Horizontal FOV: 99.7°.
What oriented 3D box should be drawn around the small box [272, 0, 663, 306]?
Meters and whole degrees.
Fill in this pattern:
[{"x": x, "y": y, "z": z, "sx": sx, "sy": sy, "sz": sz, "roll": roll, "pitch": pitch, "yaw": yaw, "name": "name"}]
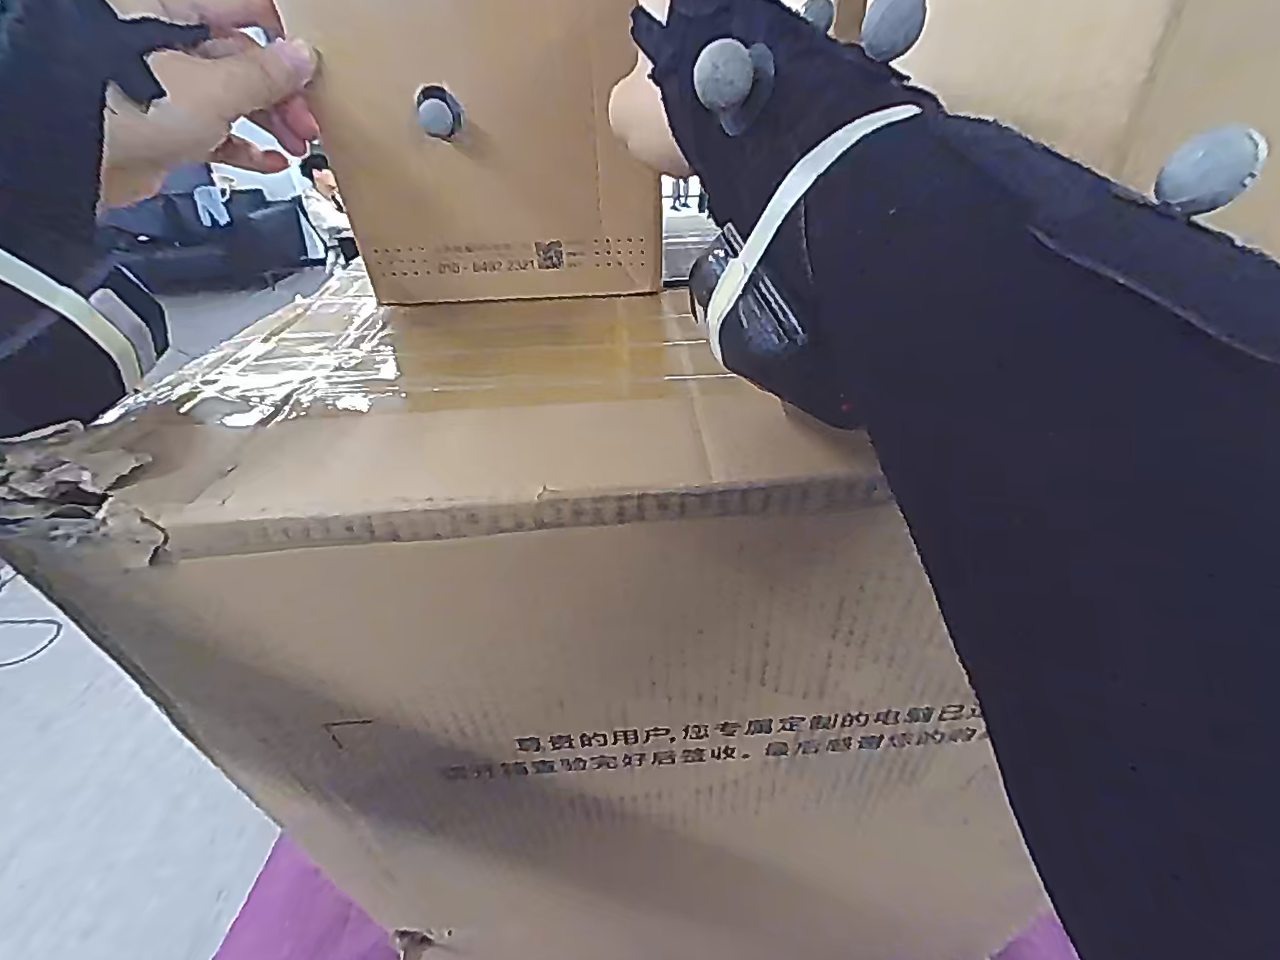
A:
[{"x": -0.074, "y": -0.213, "z": 0.331, "sx": 0.168, "sy": 0.176, "sz": 0.179, "roll": -4, "pitch": 38, "yaw": -1, "name": "small box"}]
